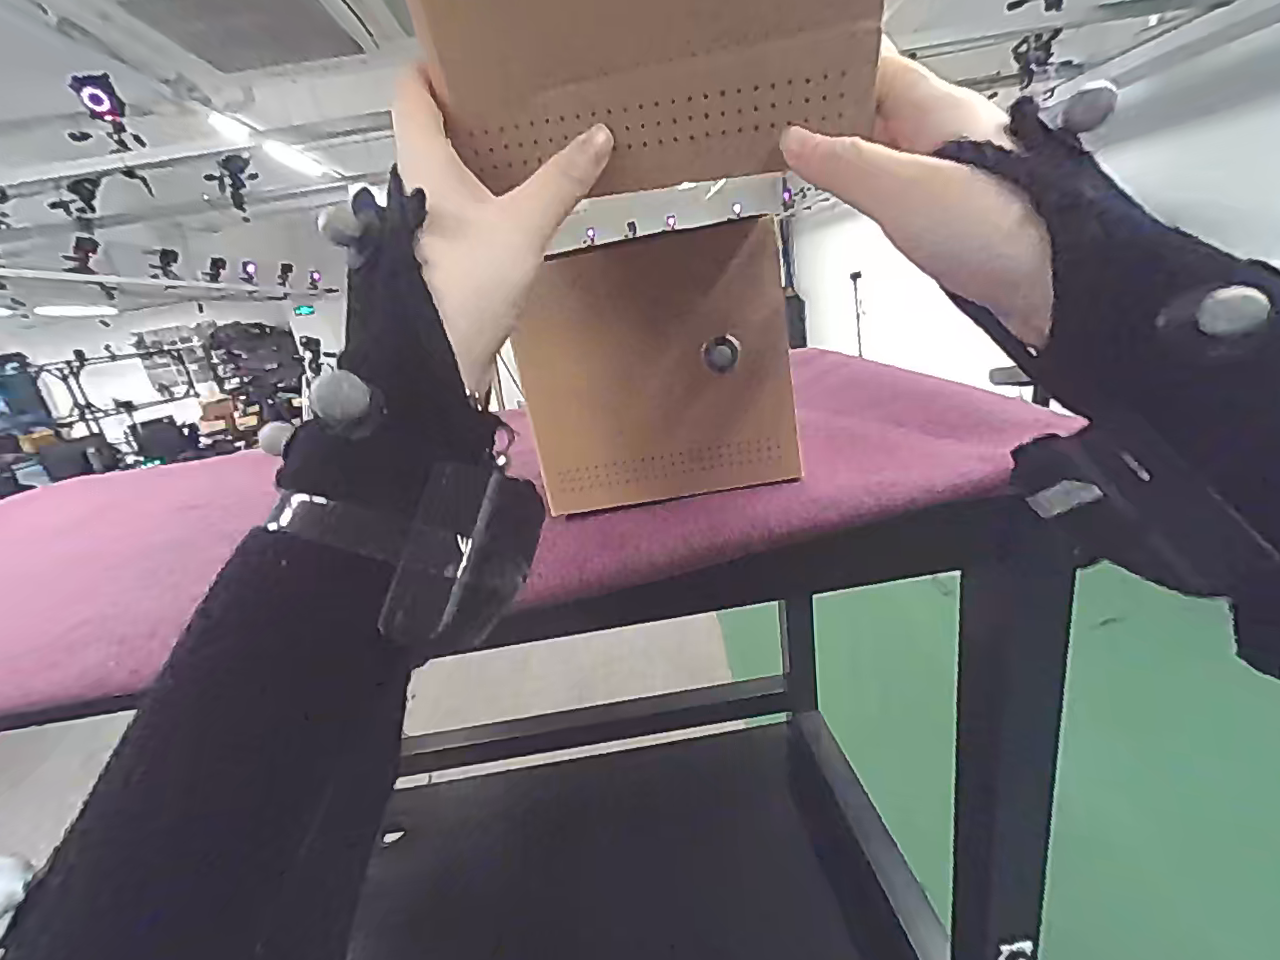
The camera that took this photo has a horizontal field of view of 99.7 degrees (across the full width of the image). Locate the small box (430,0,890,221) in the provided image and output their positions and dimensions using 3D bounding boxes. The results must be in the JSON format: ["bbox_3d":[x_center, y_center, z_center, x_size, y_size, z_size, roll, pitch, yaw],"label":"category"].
[{"bbox_3d":[0.009,-0.230,0.248,0.179,0.176,0.168,-3,39,8],"label":"small box"}]

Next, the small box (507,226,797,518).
[{"bbox_3d":[0.019,-0.083,0.428,0.179,0.176,0.168,-10,14,5],"label":"small box"}]
